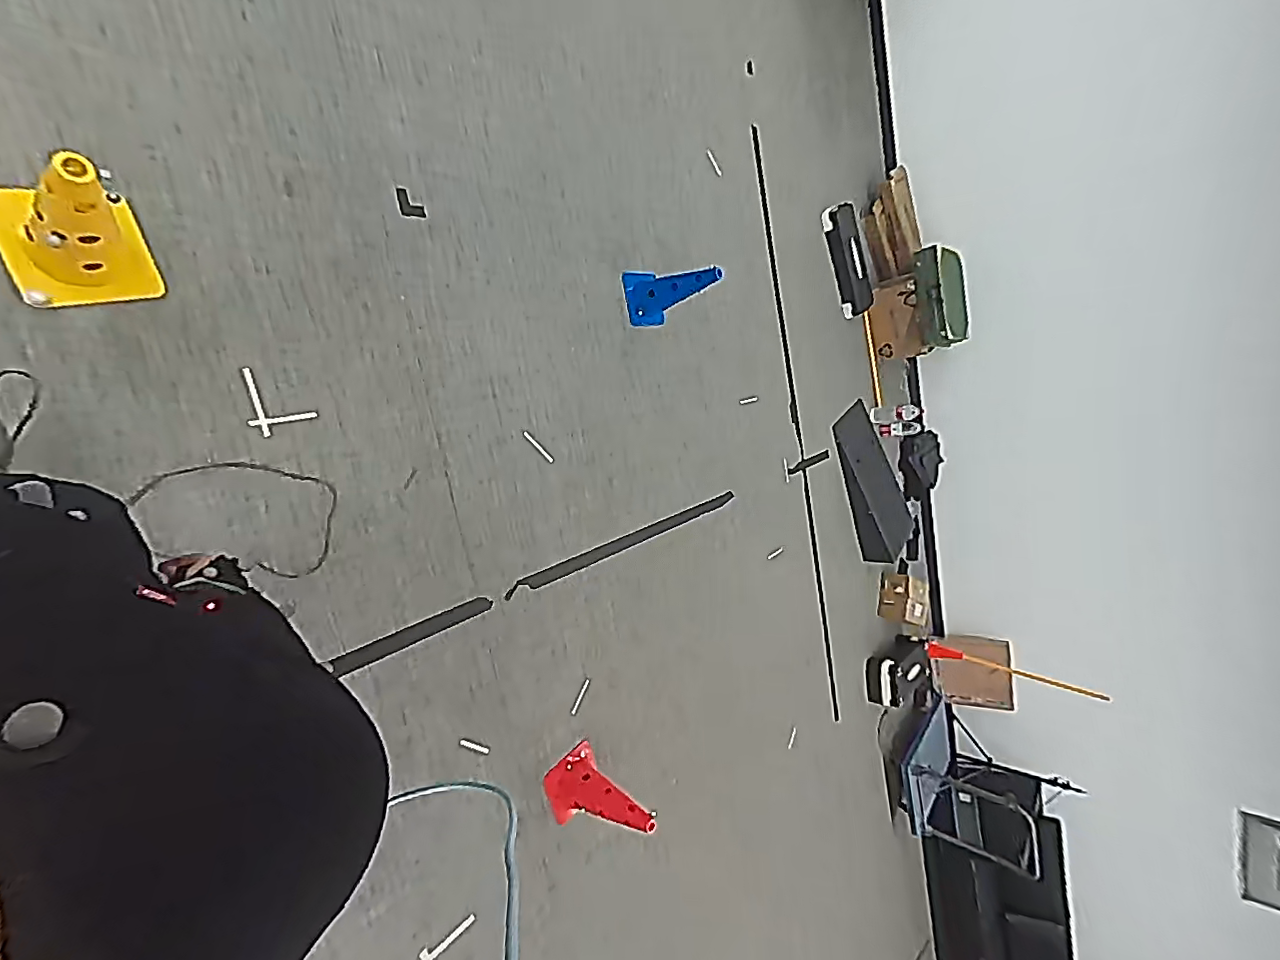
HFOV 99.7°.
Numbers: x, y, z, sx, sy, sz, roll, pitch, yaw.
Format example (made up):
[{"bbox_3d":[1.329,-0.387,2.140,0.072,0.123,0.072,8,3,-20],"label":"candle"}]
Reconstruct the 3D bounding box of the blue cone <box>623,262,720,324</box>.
[{"bbox_3d":[0.131,-0.704,1.964,0.193,0.380,0.192,-18,101,-45],"label":"blue cone"}]

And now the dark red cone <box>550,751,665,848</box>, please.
[{"bbox_3d":[-0.080,1.015,1.650,0.202,0.394,0.201,-29,109,-43],"label":"dark red cone"}]
